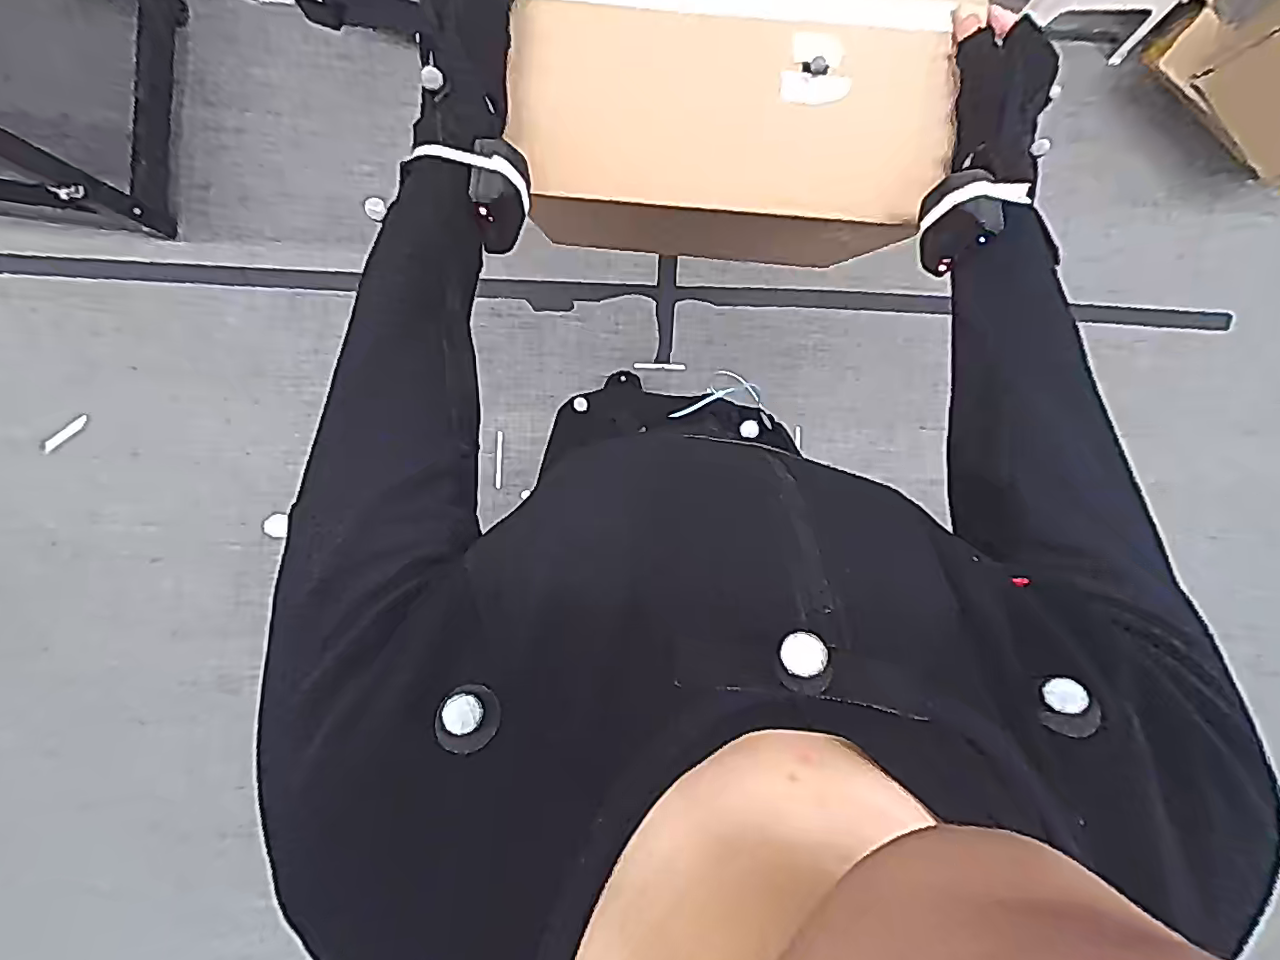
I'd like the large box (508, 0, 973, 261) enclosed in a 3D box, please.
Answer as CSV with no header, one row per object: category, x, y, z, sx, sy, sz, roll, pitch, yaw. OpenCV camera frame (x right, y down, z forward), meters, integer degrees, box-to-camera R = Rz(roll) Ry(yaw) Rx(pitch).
large box,0.082,-0.440,0.606,0.408,0.320,0.320,4,106,-2
